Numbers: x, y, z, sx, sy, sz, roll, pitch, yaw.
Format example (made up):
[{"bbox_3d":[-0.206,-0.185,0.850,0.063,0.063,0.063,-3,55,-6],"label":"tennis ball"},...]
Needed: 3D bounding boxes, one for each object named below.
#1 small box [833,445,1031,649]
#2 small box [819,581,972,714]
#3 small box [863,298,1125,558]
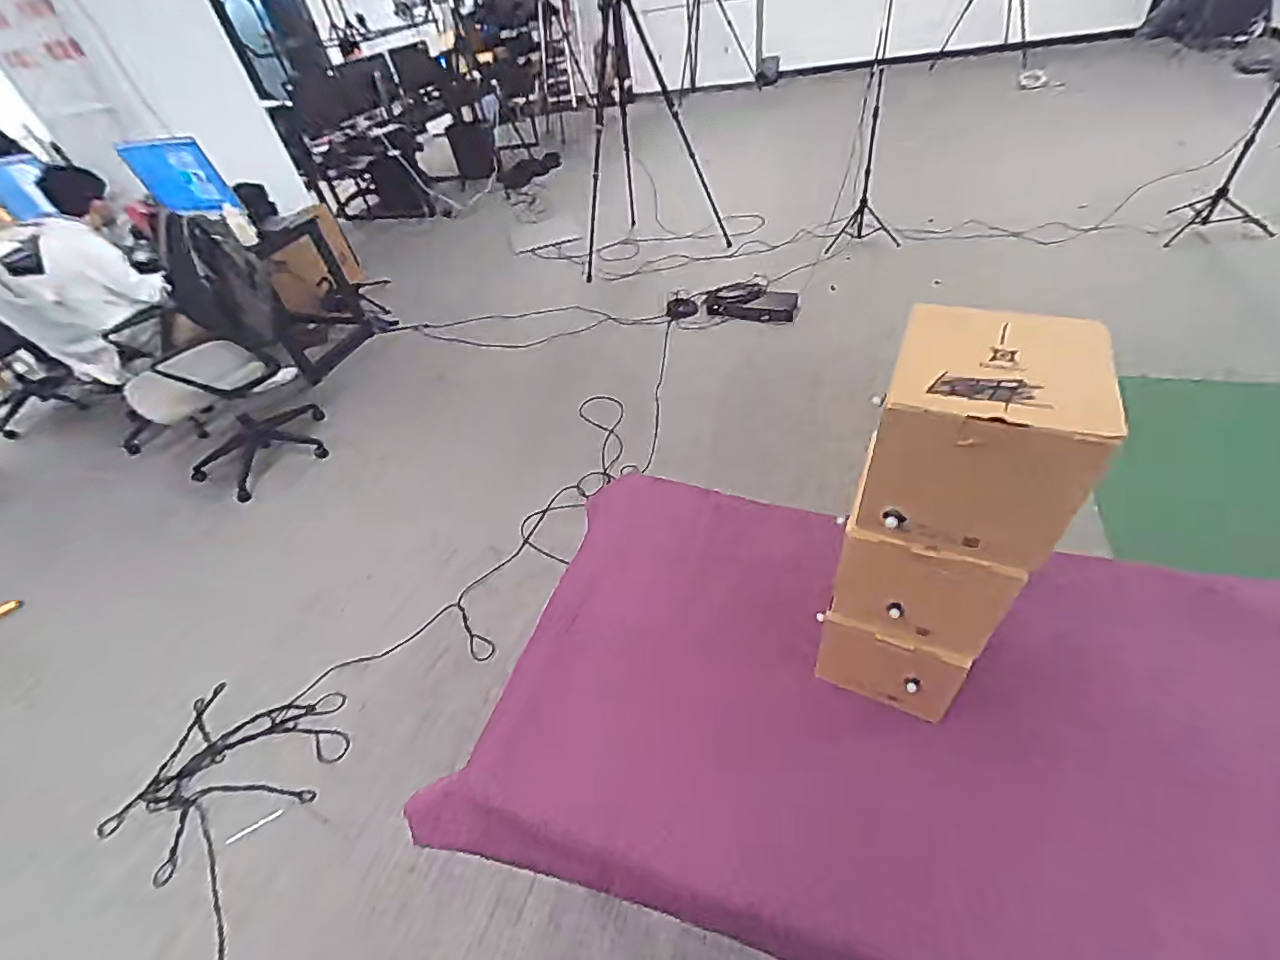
[{"bbox_3d":[0.337,0.066,0.641,0.168,0.176,0.179,14,51,22],"label":"small box"},{"bbox_3d":[0.354,0.188,0.747,0.168,0.176,0.179,17,50,25],"label":"small box"},{"bbox_3d":[0.327,-0.052,0.527,0.168,0.176,0.179,15,50,23],"label":"small box"}]
